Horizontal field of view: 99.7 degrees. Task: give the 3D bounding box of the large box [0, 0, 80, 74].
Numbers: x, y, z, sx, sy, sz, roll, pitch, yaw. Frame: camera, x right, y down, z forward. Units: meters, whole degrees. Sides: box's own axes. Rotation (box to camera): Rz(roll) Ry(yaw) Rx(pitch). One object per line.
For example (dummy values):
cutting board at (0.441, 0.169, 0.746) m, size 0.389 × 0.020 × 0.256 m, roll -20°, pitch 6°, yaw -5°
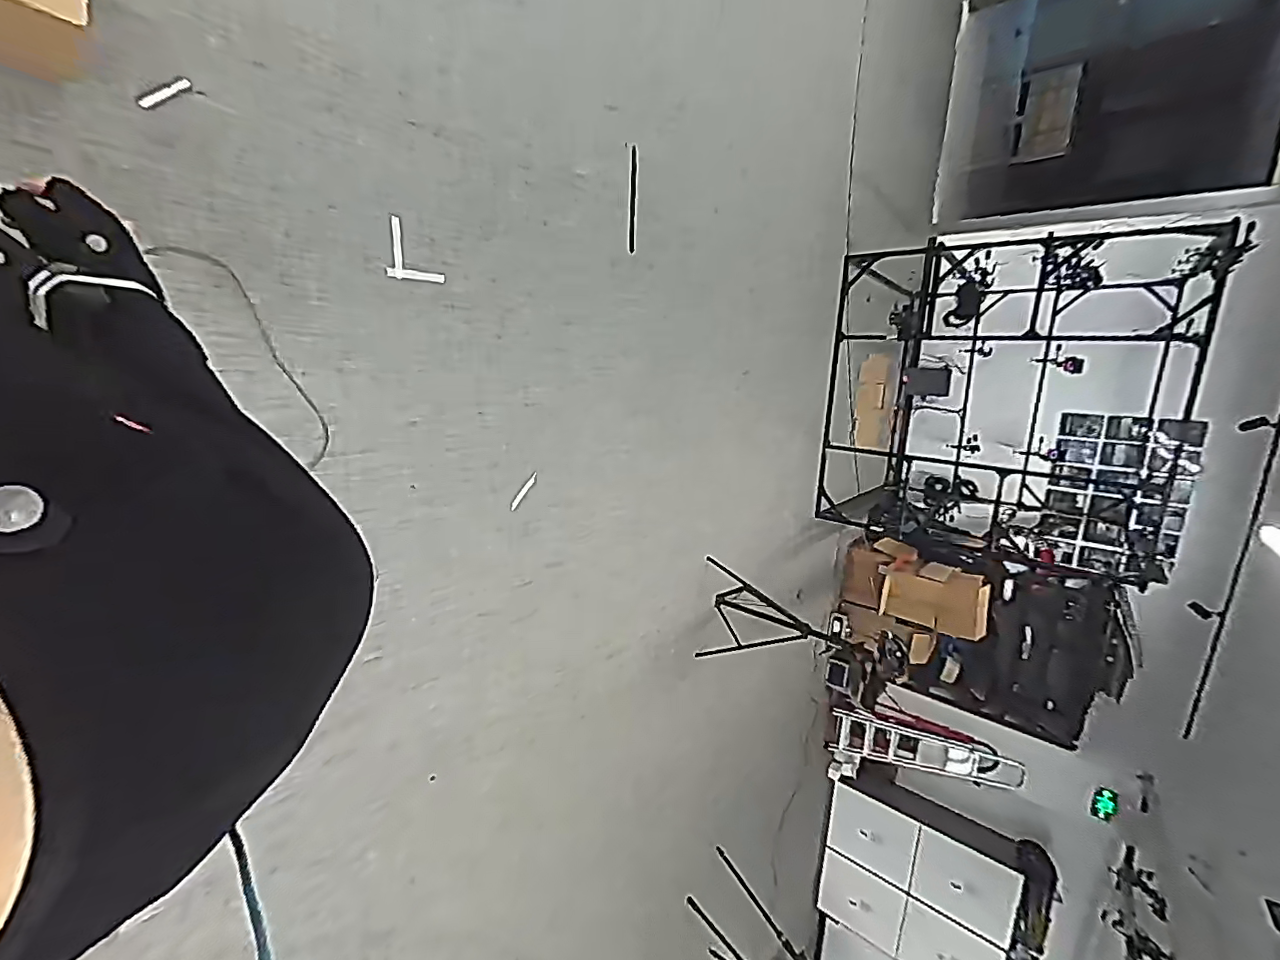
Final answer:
large box at (-1.048, -0.827, 0.705) m, size 0.408 × 0.320 × 0.320 m, roll -7°, pitch 104°, yaw -51°
